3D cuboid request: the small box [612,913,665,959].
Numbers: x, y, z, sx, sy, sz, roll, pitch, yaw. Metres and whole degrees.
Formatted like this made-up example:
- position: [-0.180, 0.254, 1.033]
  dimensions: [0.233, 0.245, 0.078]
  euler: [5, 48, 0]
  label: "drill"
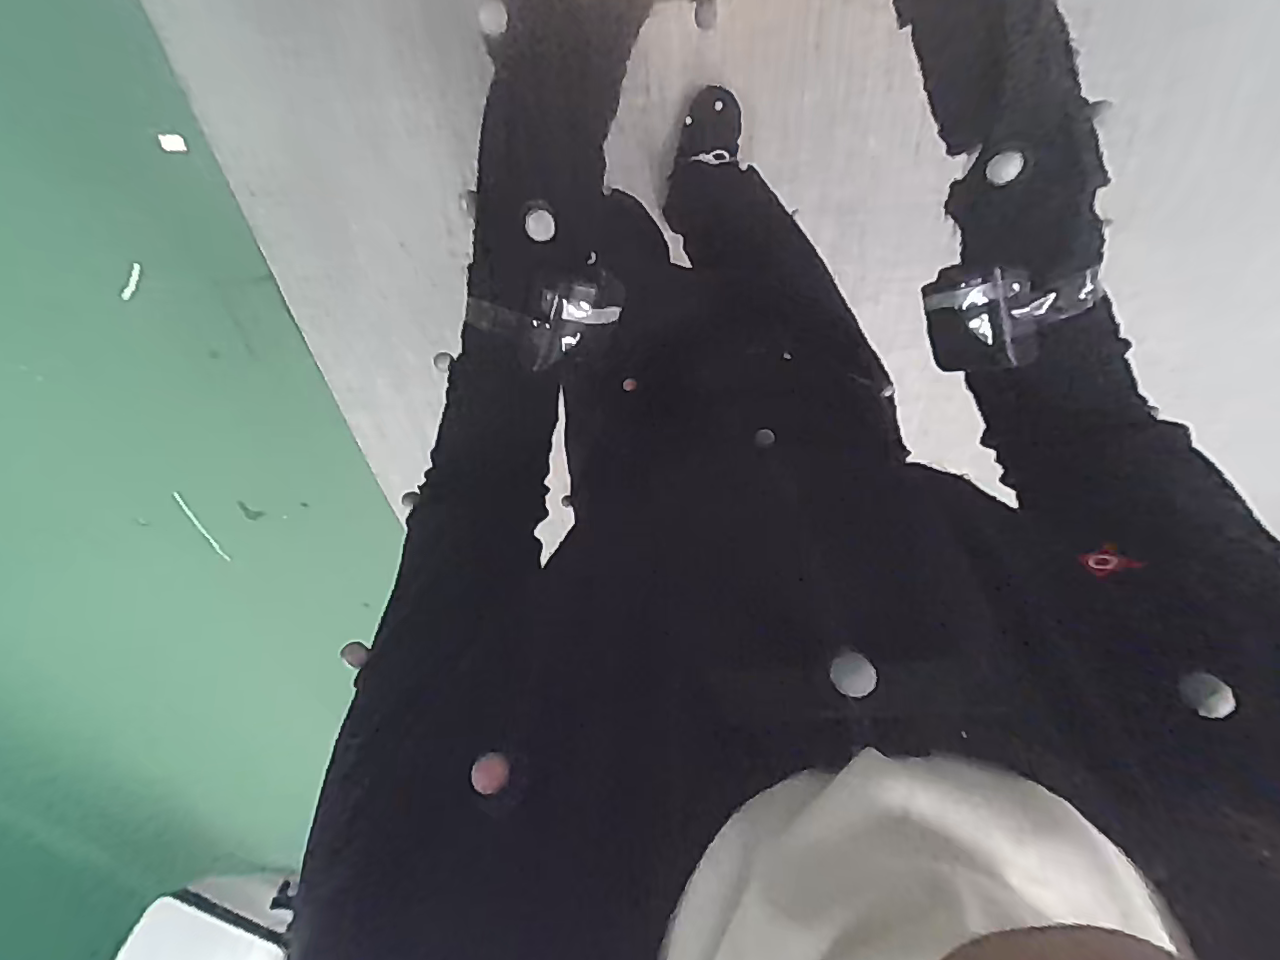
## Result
- position: [-0.003, 1.642, 1.891]
  dimensions: [0.179, 0.176, 0.168]
  euler: [-3, 129, 4]
  label: "small box"
